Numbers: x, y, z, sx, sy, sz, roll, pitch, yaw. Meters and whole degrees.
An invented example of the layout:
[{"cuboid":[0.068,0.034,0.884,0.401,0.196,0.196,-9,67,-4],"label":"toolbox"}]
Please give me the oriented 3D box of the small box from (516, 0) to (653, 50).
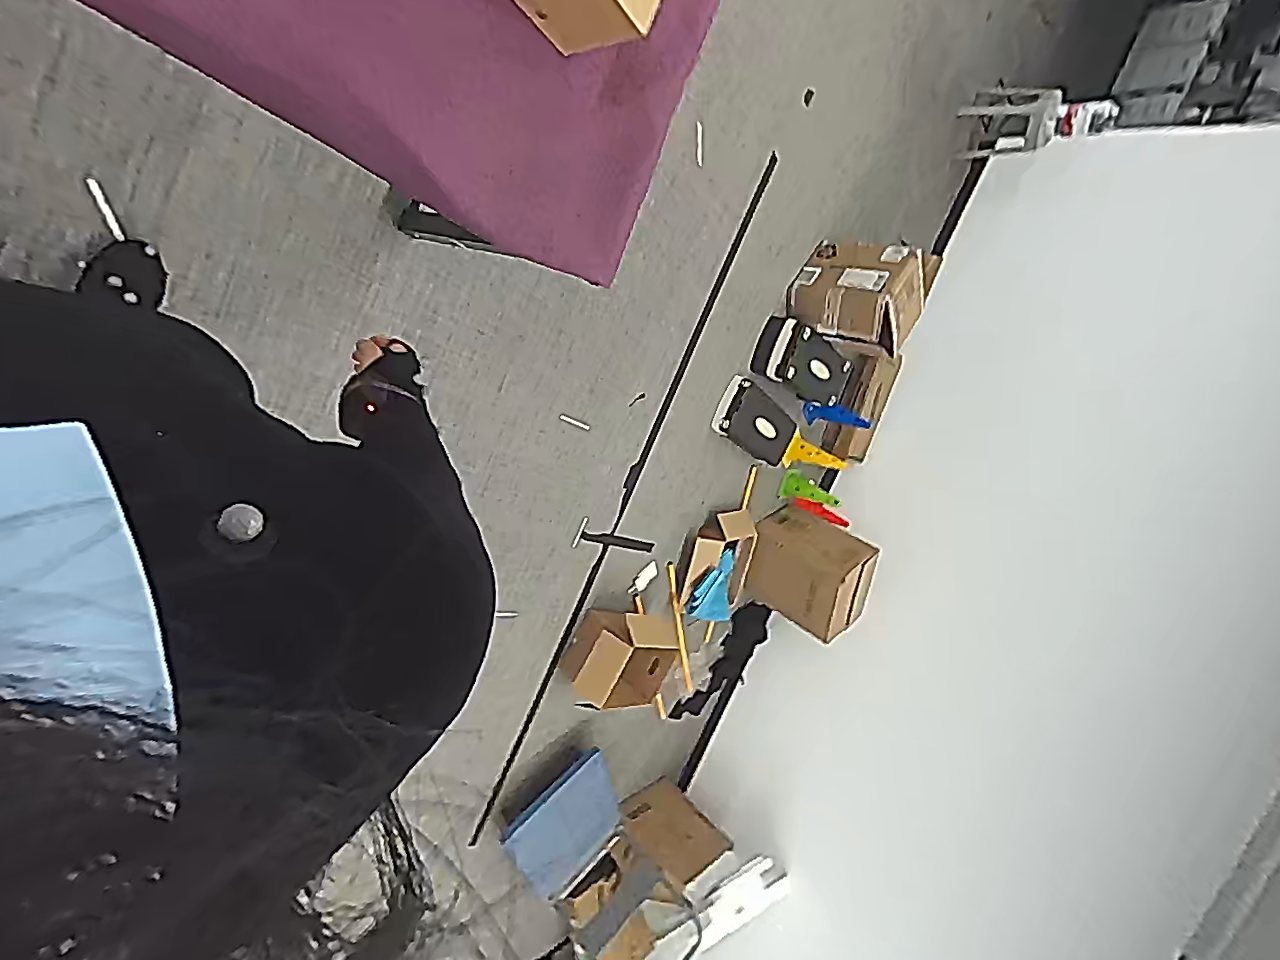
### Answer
[{"cuboid":[-0.074,-0.659,0.638,0.168,0.176,0.179,17,97,-50],"label":"small box"}]
